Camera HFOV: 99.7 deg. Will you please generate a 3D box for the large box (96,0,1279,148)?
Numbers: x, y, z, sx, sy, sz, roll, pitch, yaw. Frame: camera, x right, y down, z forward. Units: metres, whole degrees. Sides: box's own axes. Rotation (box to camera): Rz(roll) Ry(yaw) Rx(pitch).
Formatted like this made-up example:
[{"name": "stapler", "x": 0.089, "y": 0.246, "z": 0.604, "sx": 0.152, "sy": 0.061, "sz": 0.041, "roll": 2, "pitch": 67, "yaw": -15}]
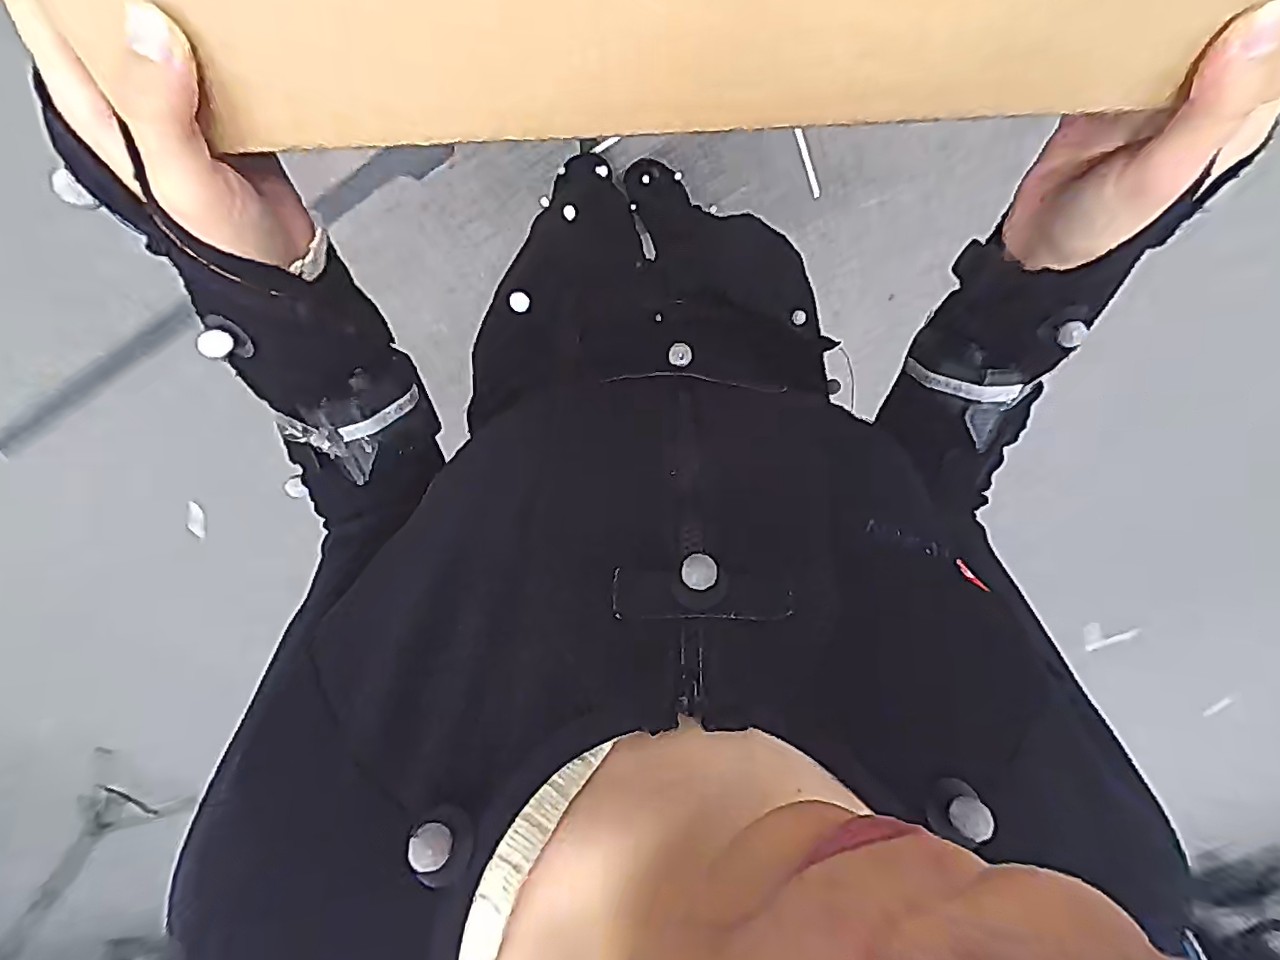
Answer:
[{"name": "large box", "x": 0.018, "y": -0.345, "z": 0.179, "sx": 0.408, "sy": 0.320, "sz": 0.320, "roll": -3, "pitch": 141, "yaw": -1}]
